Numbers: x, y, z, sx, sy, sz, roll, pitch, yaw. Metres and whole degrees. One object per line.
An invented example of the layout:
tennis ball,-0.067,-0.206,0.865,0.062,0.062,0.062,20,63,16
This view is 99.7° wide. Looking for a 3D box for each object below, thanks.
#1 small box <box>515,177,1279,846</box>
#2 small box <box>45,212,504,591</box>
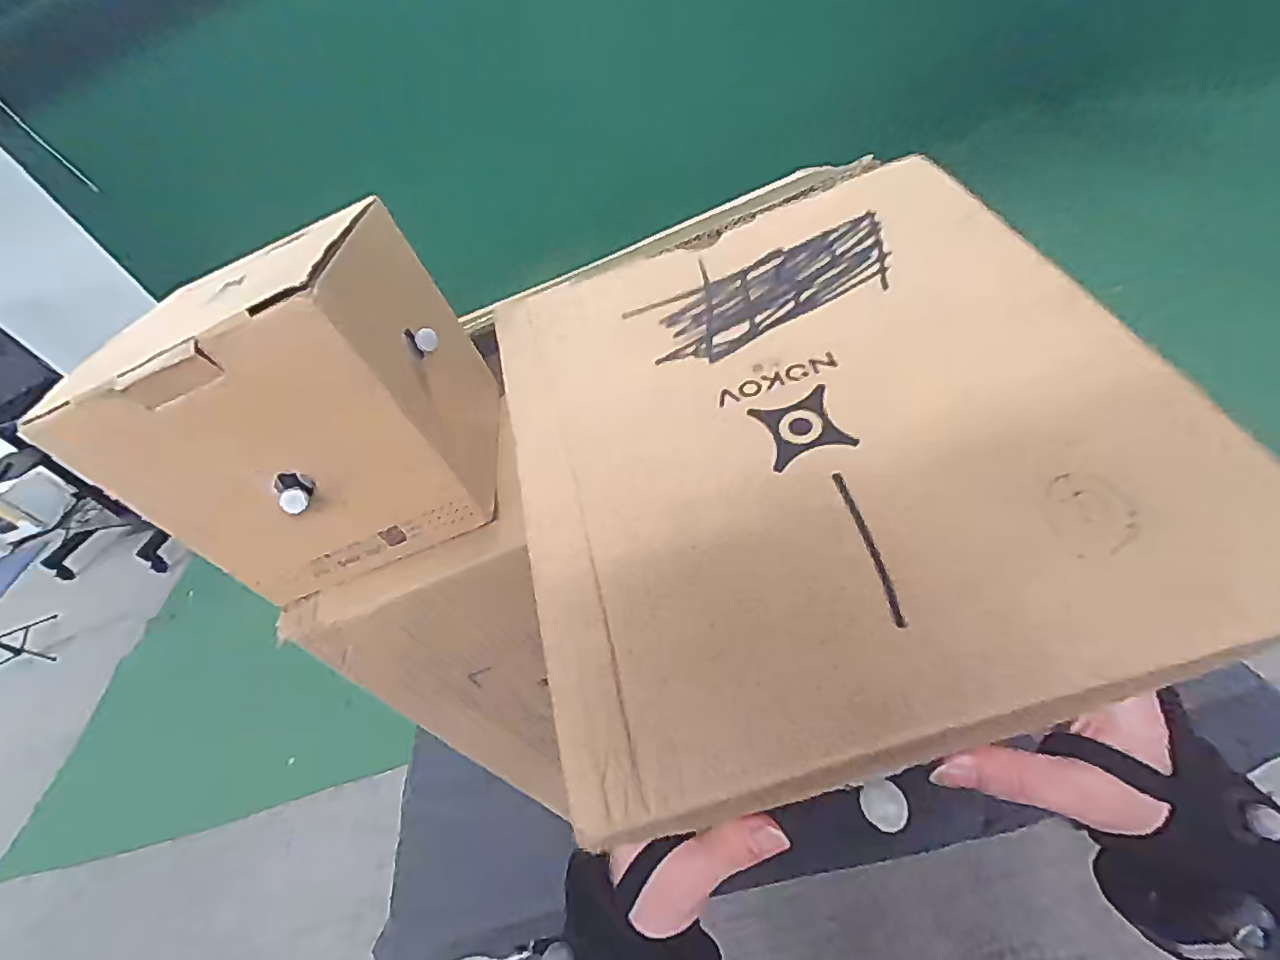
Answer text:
small box,0.066,0.024,0.220,0.168,0.176,0.179,-19,57,3
small box,-0.206,-0.046,0.372,0.168,0.176,0.179,-22,41,5
